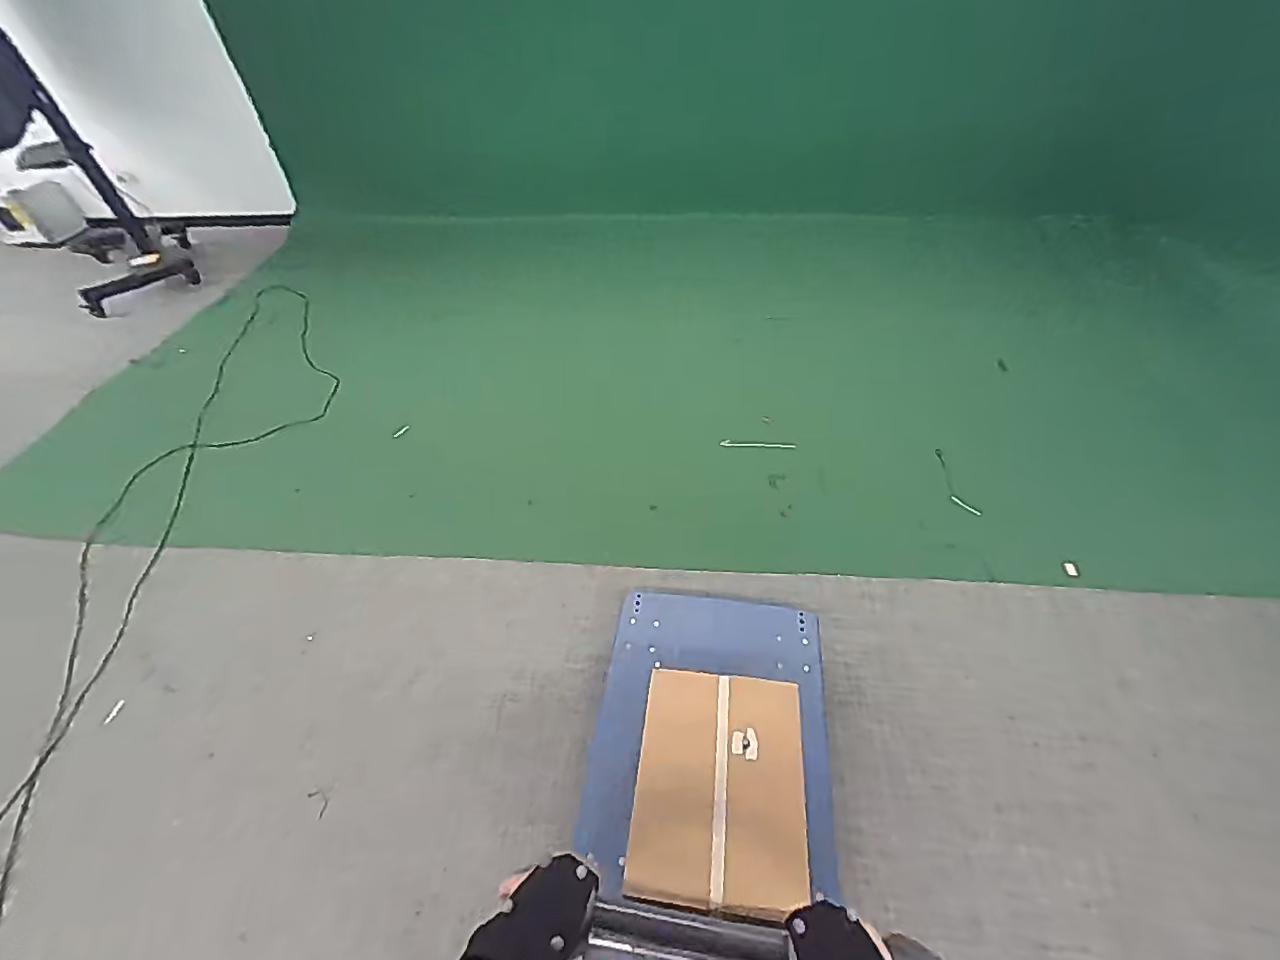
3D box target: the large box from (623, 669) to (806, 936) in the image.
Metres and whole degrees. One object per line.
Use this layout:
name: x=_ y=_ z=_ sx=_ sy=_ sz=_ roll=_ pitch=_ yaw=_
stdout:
large box: x=0.157 y=0.673 z=1.143 sx=0.320 sy=0.320 sz=0.408 roll=4 pitch=46 yaw=8
